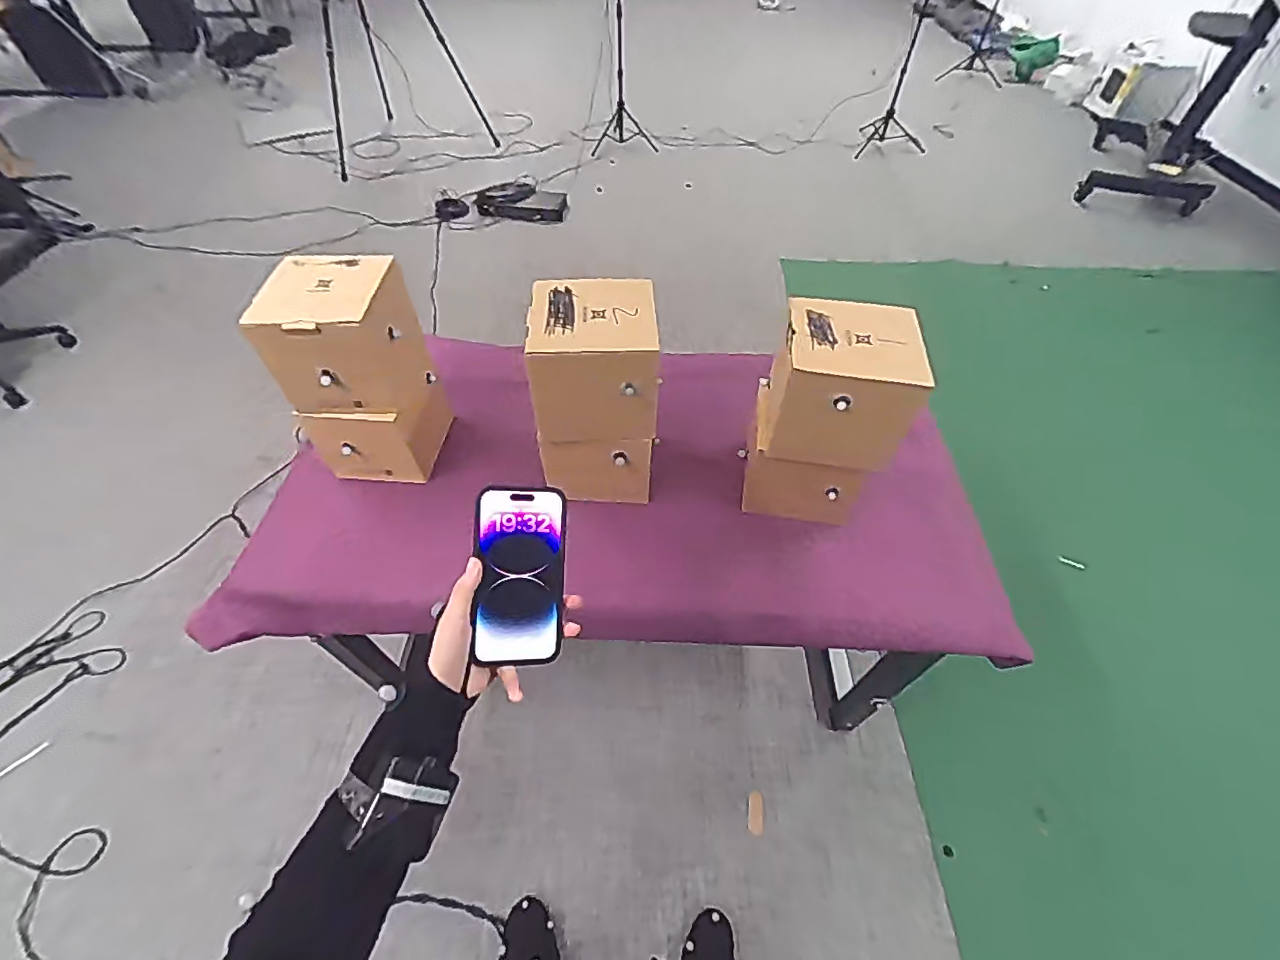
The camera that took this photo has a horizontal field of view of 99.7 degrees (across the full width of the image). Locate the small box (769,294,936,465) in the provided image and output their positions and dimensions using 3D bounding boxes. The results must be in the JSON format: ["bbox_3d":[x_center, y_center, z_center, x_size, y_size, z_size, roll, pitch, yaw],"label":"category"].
[{"bbox_3d":[0.284,-0.140,0.770,0.179,0.176,0.168,8,51,5],"label":"small box"}]

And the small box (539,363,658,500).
[{"bbox_3d":[-0.062,-0.078,0.928,0.179,0.176,0.168,3,51,2],"label":"small box"}]

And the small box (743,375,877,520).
[{"bbox_3d":[0.277,-0.050,0.907,0.179,0.176,0.168,7,51,7],"label":"small box"}]

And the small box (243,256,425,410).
[{"bbox_3d":[-0.450,-0.222,0.833,0.168,0.176,0.179,0,52,-1],"label":"small box"}]

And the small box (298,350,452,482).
[{"bbox_3d":[-0.450,-0.113,0.956,0.168,0.176,0.179,3,51,3],"label":"small box"}]
